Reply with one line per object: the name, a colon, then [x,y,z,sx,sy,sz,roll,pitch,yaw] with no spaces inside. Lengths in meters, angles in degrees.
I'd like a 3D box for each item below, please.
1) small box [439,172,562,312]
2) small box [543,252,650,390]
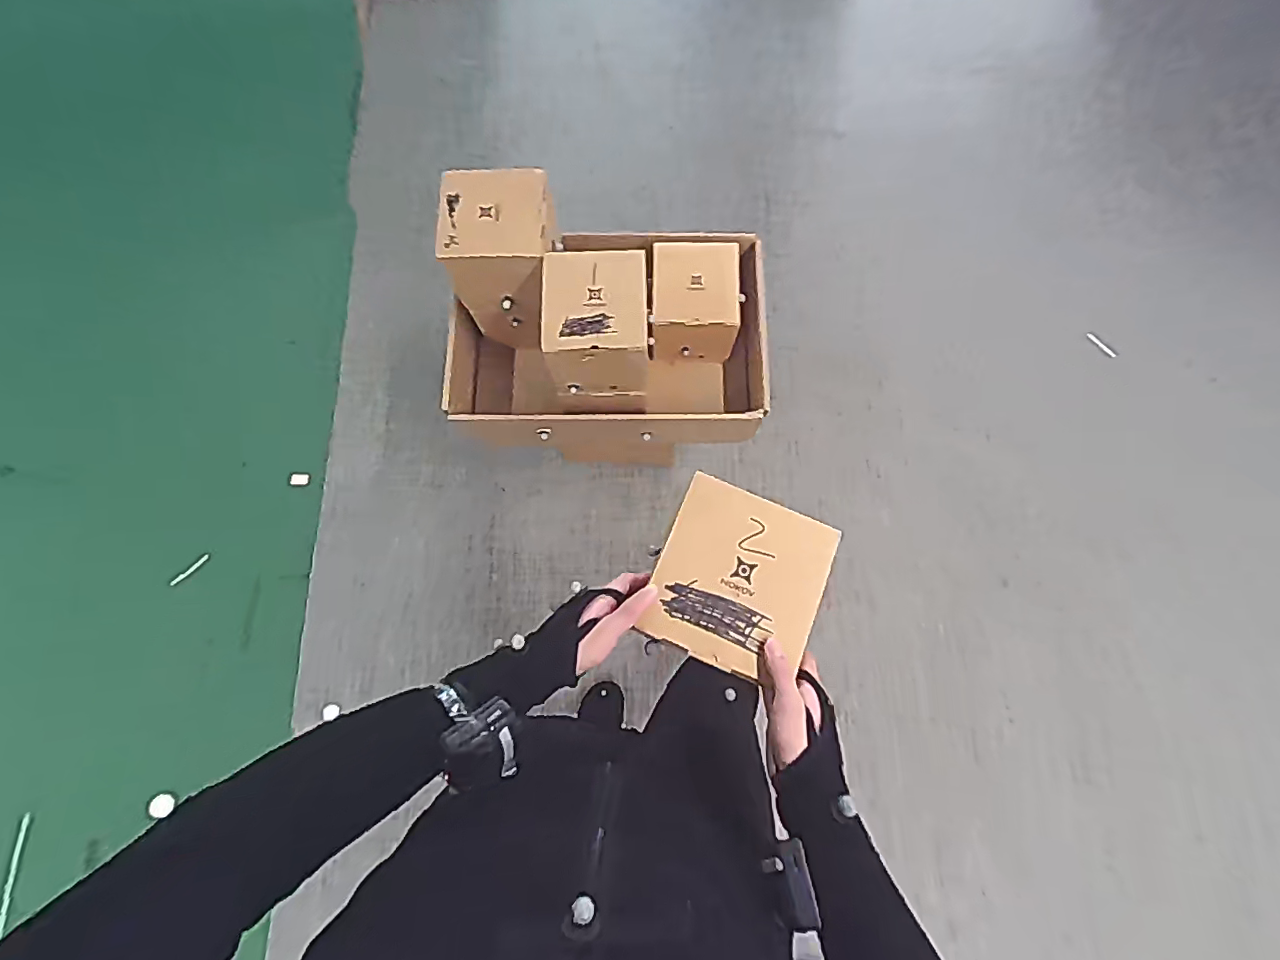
small box: [-0.237,-0.416,0.964,0.179,0.176,0.168,1,77,0]
small box: [-0.066,-0.261,0.923,0.168,0.176,0.179,-1,76,0]
